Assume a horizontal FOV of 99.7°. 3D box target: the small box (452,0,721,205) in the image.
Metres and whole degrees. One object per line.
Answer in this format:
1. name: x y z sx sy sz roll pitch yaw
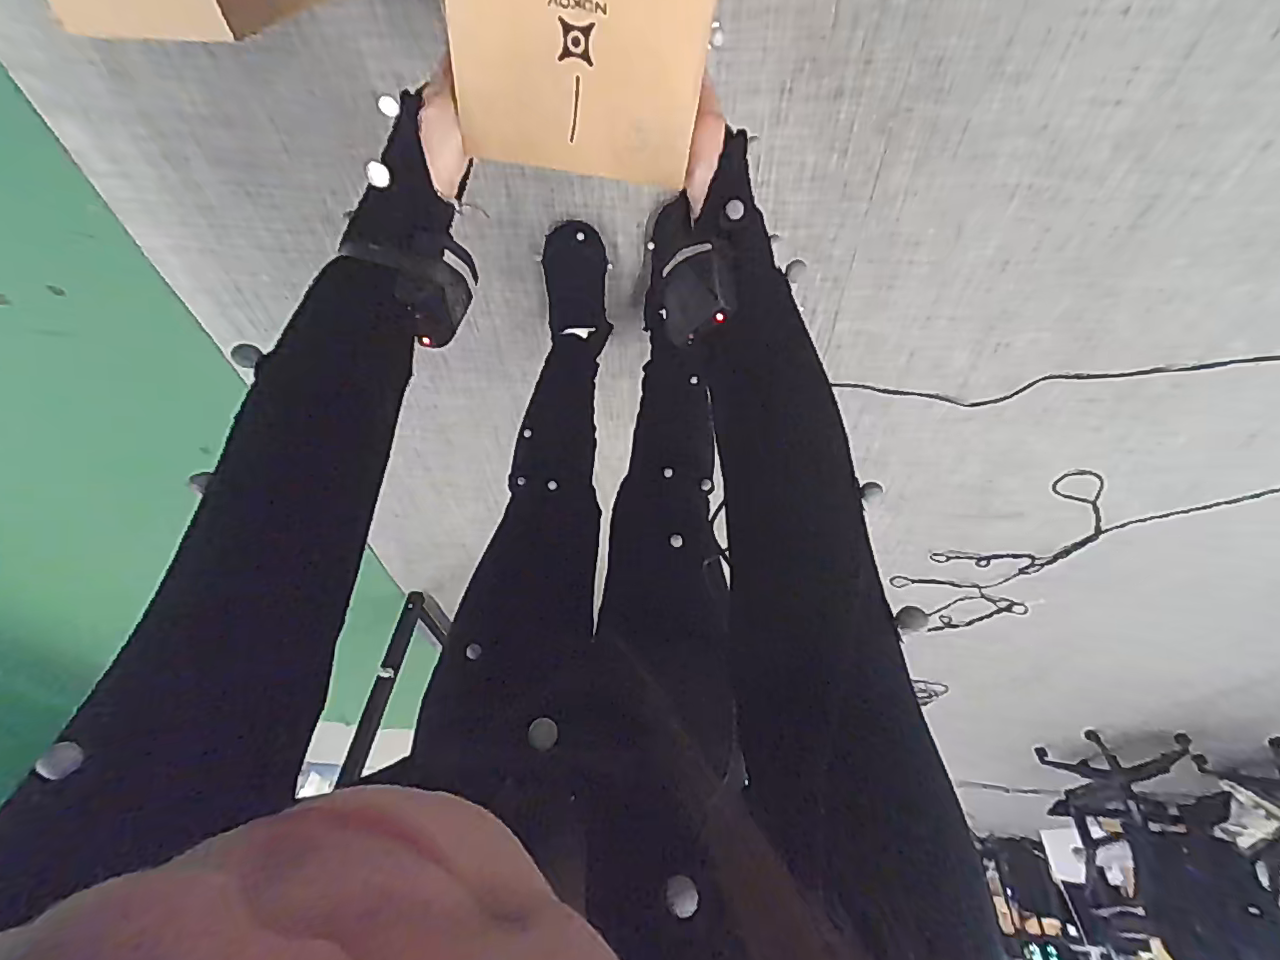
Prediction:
1. small box: -0.034 -0.340 0.398 0.168 0.176 0.179 7 142 -4
